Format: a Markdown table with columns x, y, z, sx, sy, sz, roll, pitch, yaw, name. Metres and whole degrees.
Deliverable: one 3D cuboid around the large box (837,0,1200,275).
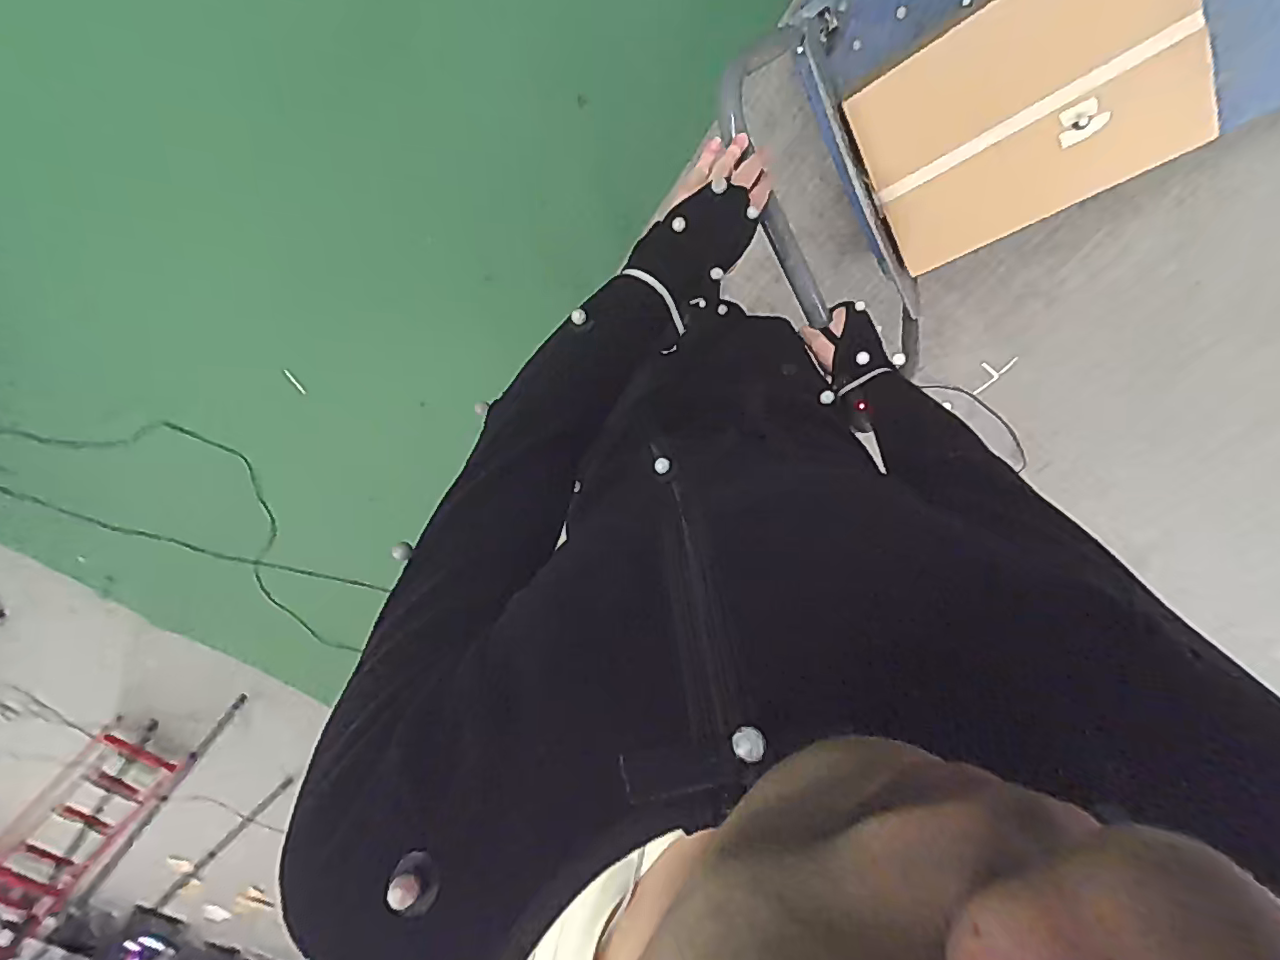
| x | y | z | sx | sy | sz | roll | pitch | yaw | name |
| --- | --- | --- | --- | --- | --- | --- | --- | --- | --- |
| 0.593 | -0.626 | 0.922 | 0.408 | 0.320 | 0.320 | -21 | 117 | 33 | large box |
